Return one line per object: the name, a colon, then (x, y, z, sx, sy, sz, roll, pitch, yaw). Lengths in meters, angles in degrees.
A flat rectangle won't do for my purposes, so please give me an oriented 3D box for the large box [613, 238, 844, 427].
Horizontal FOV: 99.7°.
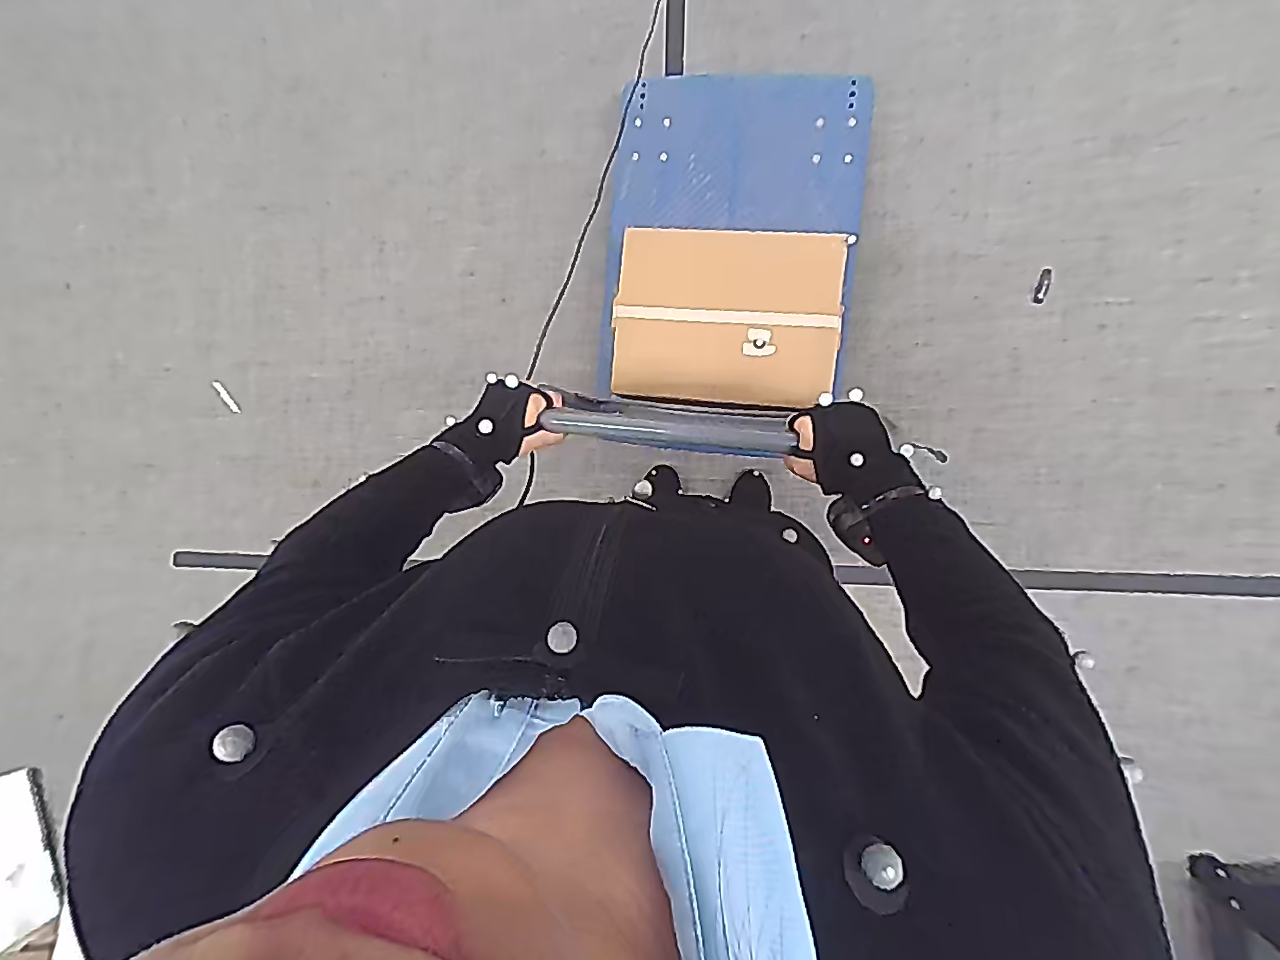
large box: (0.174, -0.288, 1.138, 0.408, 0.320, 0.320, 6, 93, 8)
